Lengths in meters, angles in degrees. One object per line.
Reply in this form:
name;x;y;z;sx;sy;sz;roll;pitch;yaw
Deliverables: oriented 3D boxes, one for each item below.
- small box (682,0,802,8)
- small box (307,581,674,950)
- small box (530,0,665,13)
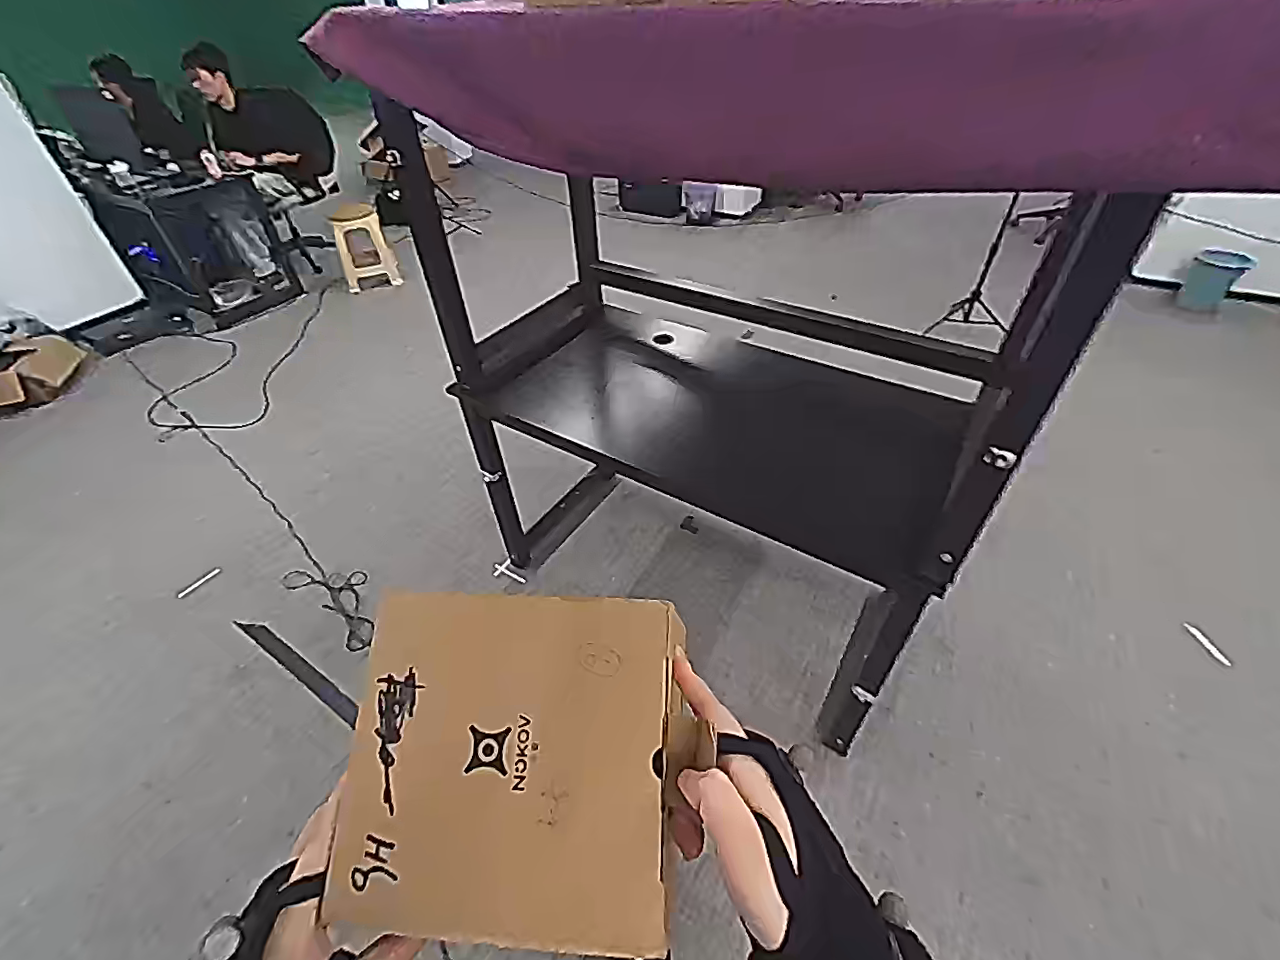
small box;0.152;-0.717;0.686;0.168;0.176;0.179;19;46;22
small box;-0.068;0.164;0.358;0.179;0.176;0.168;1;71;6
small box;-0.065;-0.823;0.814;0.179;0.176;0.168;20;46;23
